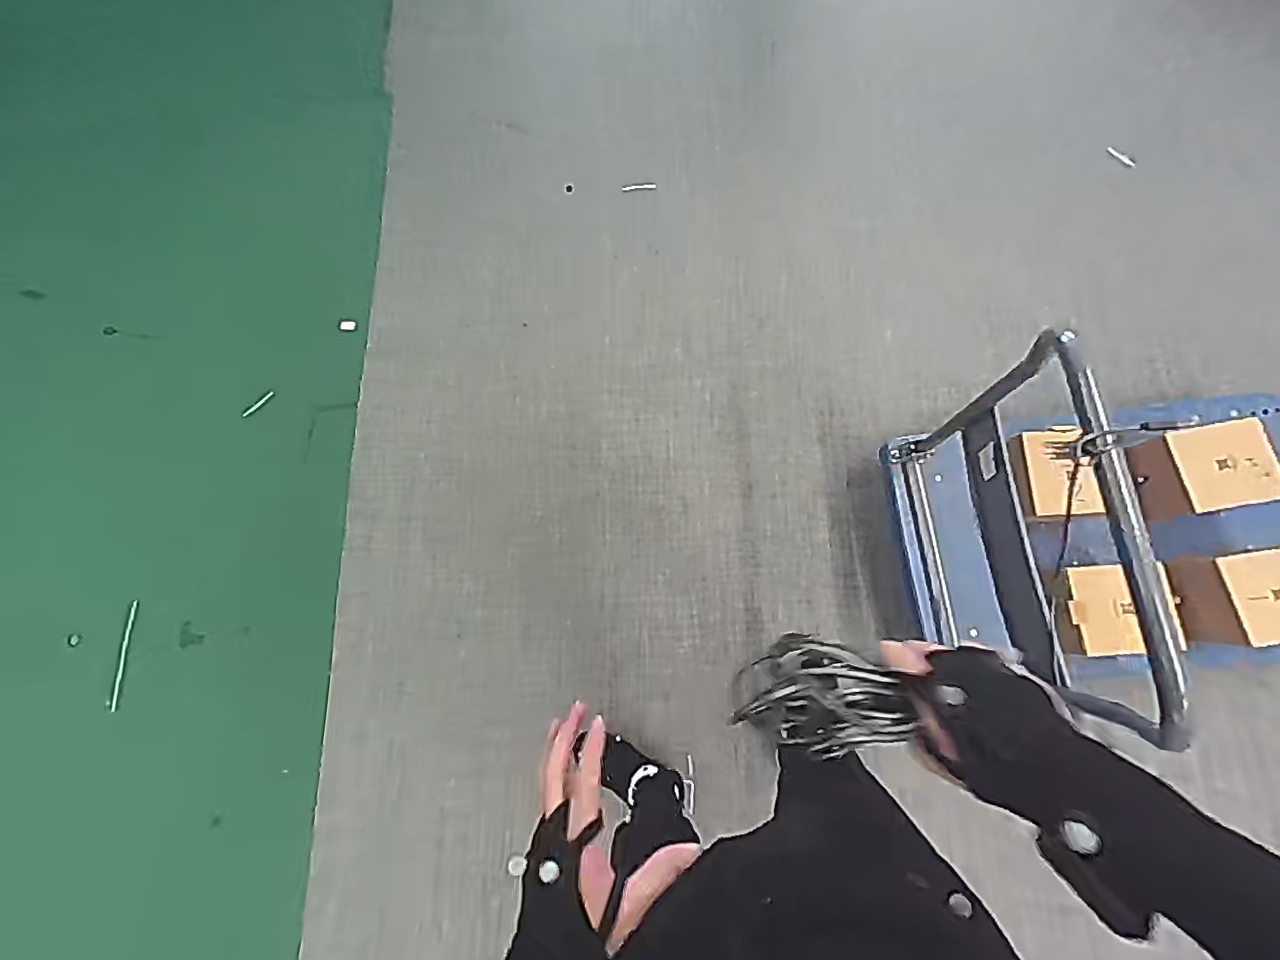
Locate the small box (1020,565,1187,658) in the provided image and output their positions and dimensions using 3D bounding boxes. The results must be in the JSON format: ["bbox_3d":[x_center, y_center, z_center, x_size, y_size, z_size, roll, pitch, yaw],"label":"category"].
[{"bbox_3d":[0.919,0.262,1.091,0.179,0.176,0.168,-6,76,6],"label":"small box"}]

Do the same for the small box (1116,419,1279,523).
[{"bbox_3d":[1.147,-0.011,1.122,0.179,0.176,0.168,-10,77,5],"label":"small box"}]

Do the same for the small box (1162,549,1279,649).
[{"bbox_3d":[1.187,0.230,1.061,0.179,0.176,0.168,-10,75,6],"label":"small box"}]
